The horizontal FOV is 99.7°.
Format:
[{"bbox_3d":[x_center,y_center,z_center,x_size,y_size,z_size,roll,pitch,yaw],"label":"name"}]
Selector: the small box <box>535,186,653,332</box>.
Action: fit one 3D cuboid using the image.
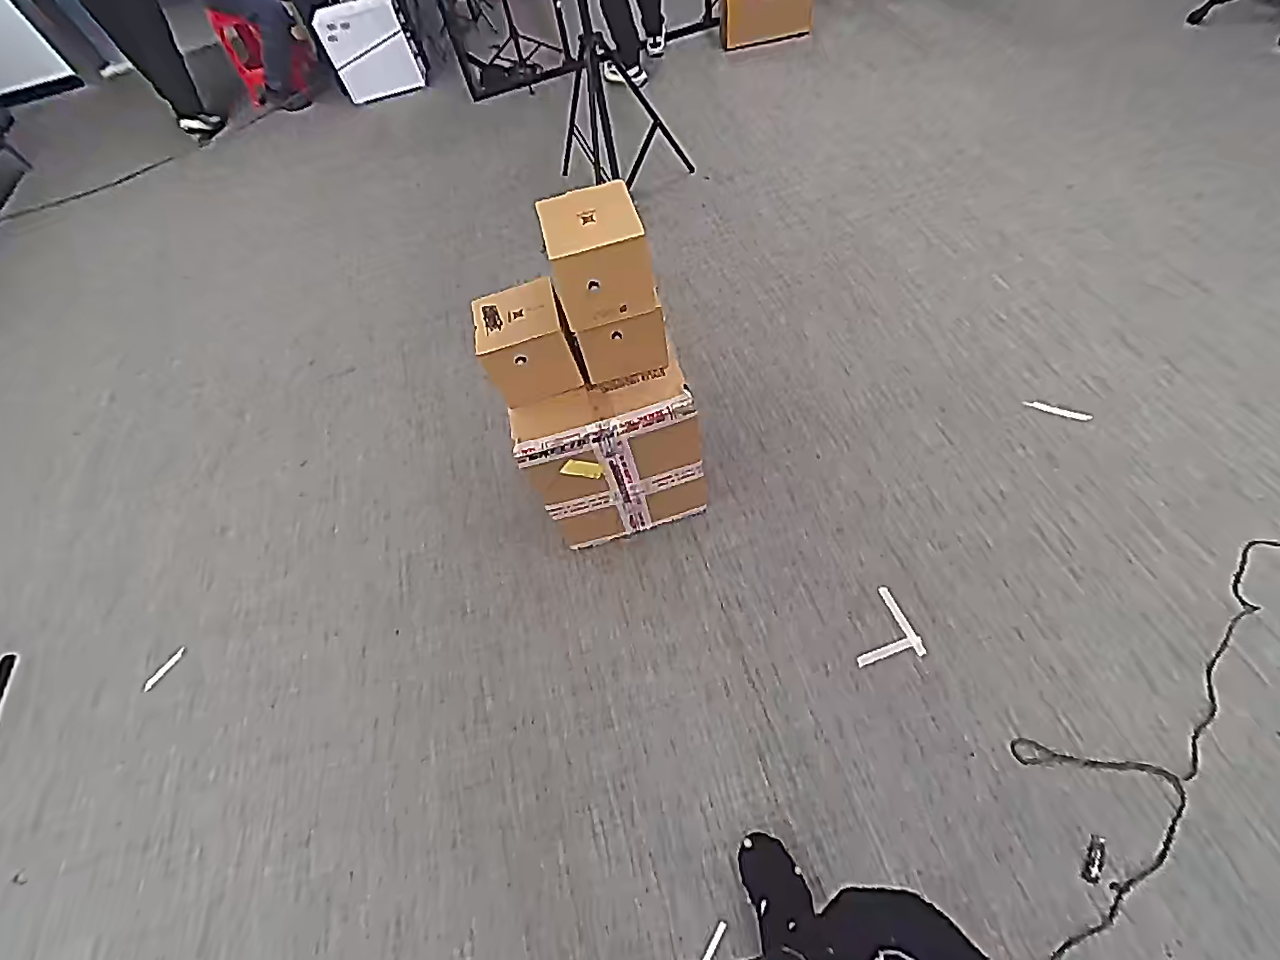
[{"bbox_3d":[-0.080,-0.396,0.997,0.168,0.176,0.179,-16,58,-1],"label":"small box"}]
